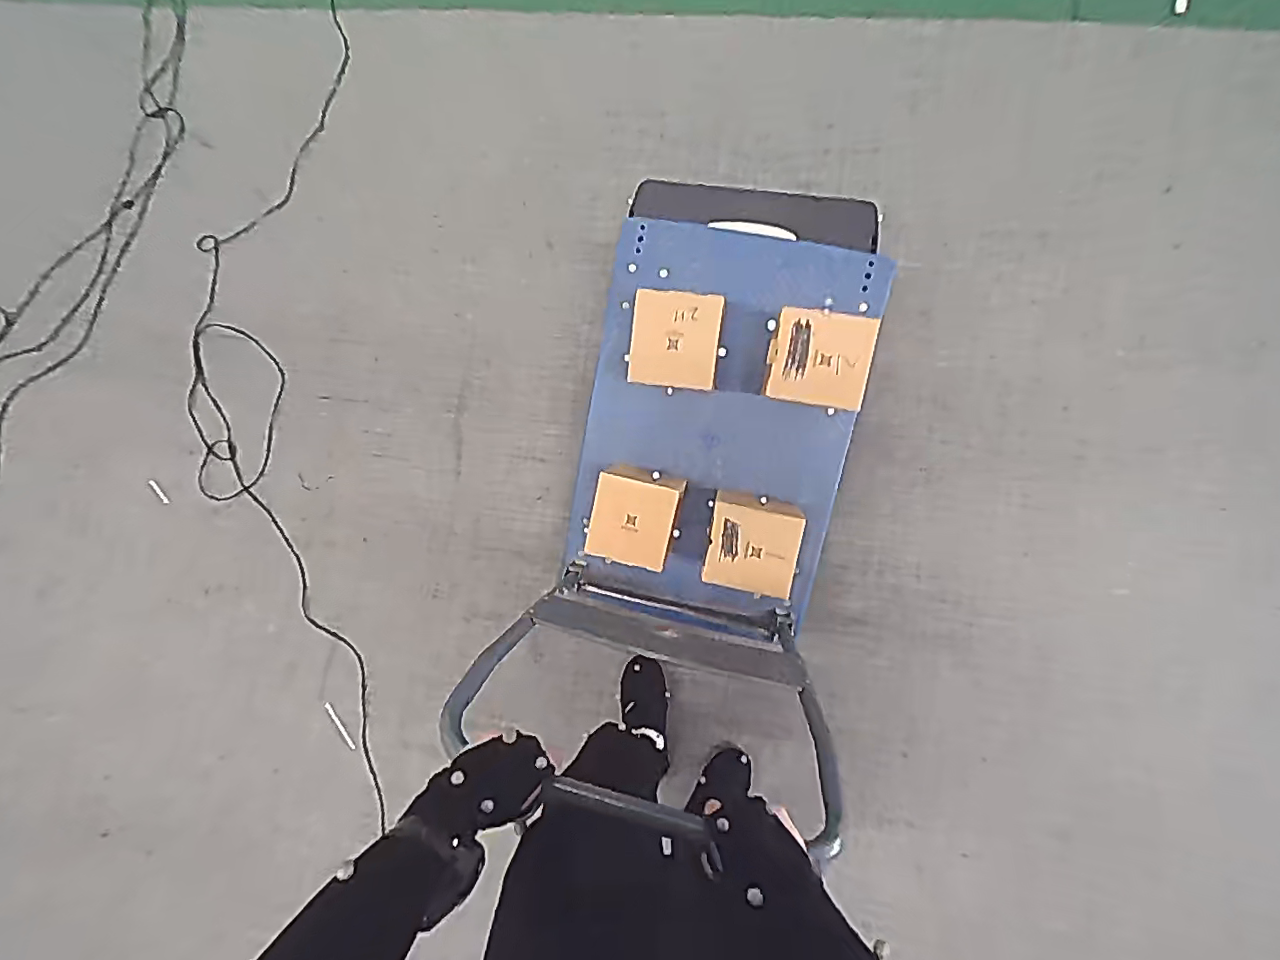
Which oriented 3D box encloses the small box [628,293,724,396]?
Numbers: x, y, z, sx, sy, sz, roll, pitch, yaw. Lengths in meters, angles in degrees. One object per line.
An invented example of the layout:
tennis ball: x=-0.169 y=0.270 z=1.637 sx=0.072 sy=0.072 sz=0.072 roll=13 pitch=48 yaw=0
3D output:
small box: x=0.079 y=-0.269 z=1.098 sx=0.168 sy=0.176 sz=0.179 roll=8 pitch=100 yaw=7

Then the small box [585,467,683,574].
small box: x=-0.006 y=0.077 z=1.160 sx=0.168 sy=0.176 sz=0.179 roll=14 pitch=100 yaw=7
